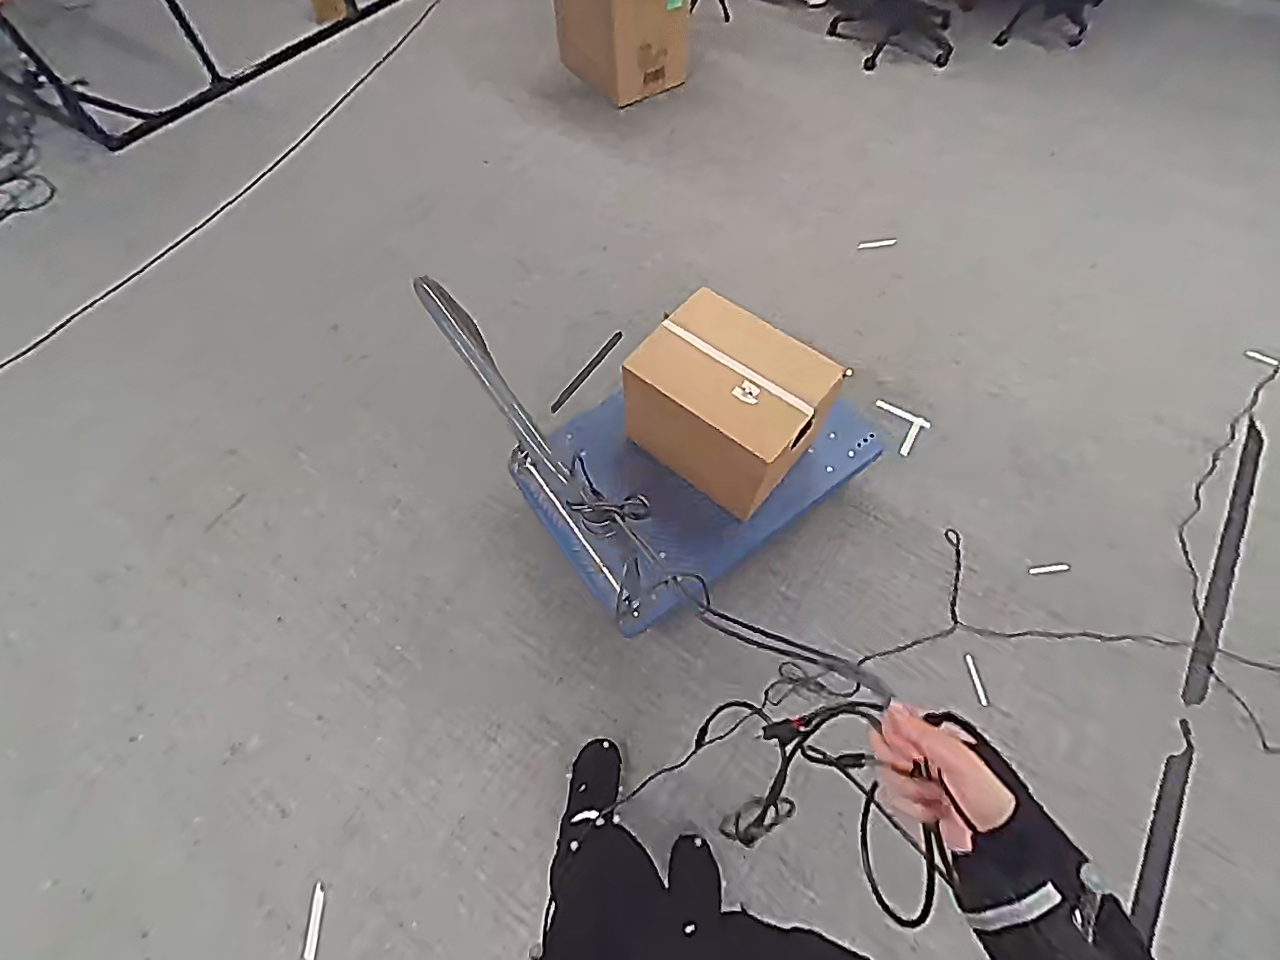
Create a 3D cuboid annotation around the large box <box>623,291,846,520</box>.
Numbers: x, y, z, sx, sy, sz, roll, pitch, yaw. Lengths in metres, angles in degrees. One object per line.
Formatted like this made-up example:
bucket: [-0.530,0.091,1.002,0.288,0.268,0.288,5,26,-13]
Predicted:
large box: [0.204,-0.176,1.323,0.408,0.320,0.320,36,70,16]
